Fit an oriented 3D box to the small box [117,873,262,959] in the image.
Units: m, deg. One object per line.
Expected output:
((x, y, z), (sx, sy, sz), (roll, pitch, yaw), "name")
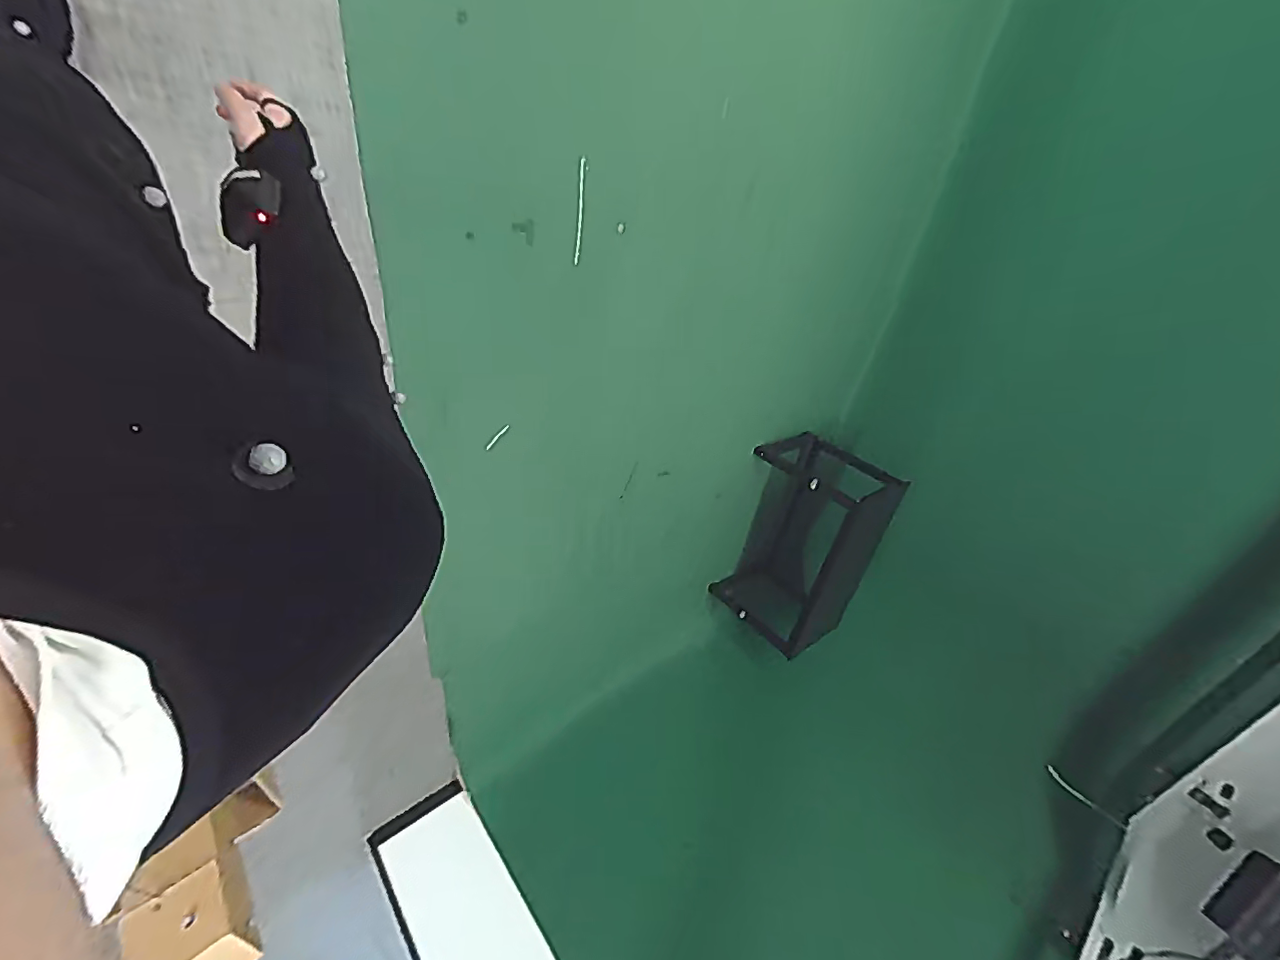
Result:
((-0.912, 0.950, 1.097), (0.168, 0.176, 0.179), (-27, 138, -33), "small box")

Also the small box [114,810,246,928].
((-1.017, 0.876, 1.196), (0.168, 0.176, 0.179), (-26, 137, -34), "small box")
